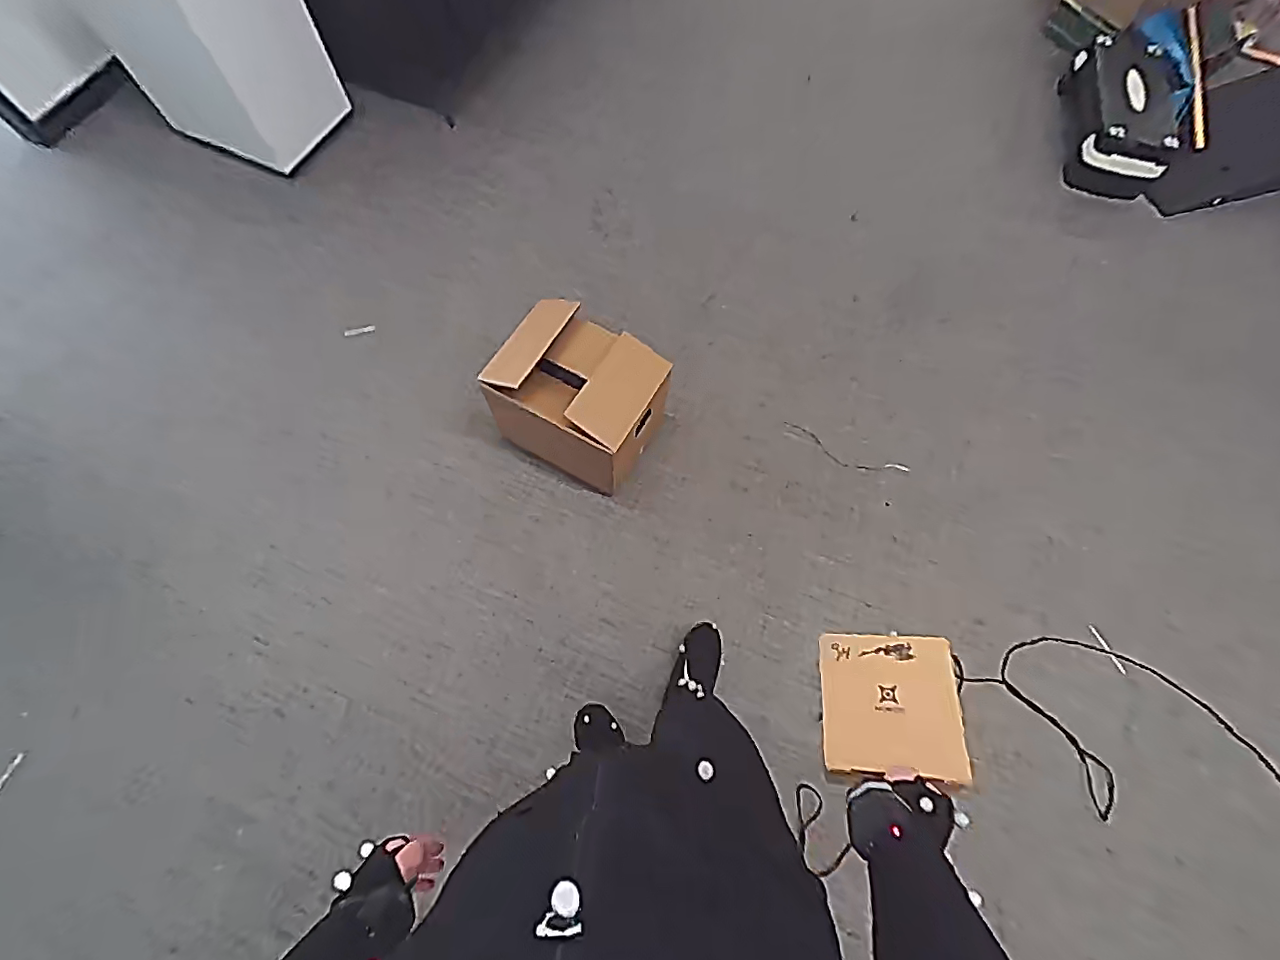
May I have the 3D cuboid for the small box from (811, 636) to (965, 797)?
[{"bbox_3d":[0.340,0.338,0.768,0.168,0.176,0.179,-6,50,16],"label":"small box"}]
